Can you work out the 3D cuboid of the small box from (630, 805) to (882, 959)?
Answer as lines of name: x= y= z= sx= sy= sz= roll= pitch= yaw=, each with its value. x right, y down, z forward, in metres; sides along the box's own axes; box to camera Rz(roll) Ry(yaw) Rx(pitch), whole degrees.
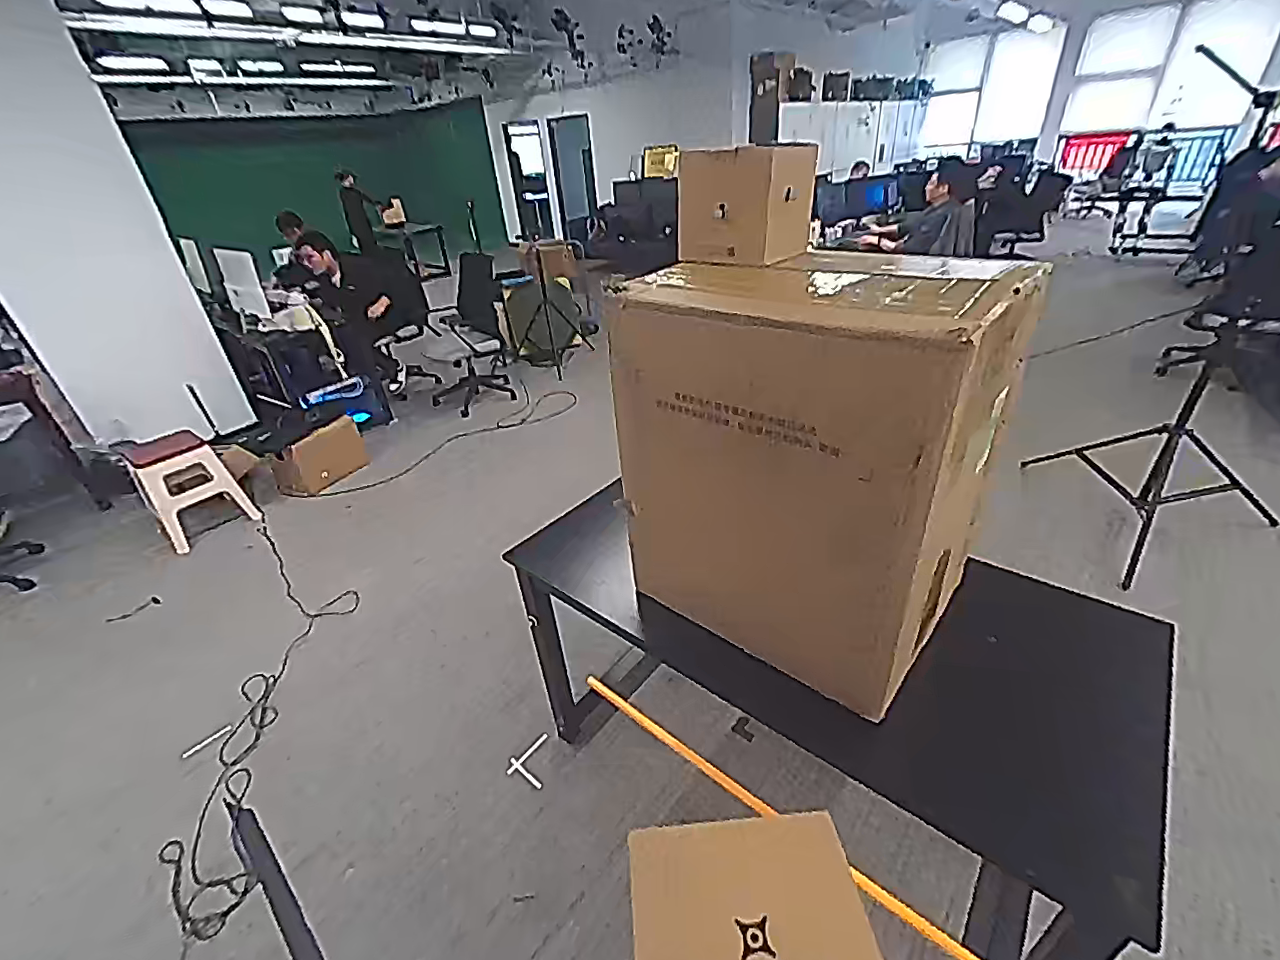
small box: x=0.079 y=0.382 z=0.402 sx=0.168 sy=0.176 sz=0.179 roll=-4 pitch=30 yaw=-2

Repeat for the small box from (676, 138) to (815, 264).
small box: x=0.177 y=-0.464 z=0.905 sx=0.168 sy=0.176 sz=0.179 roll=19 pitch=37 yaw=32
